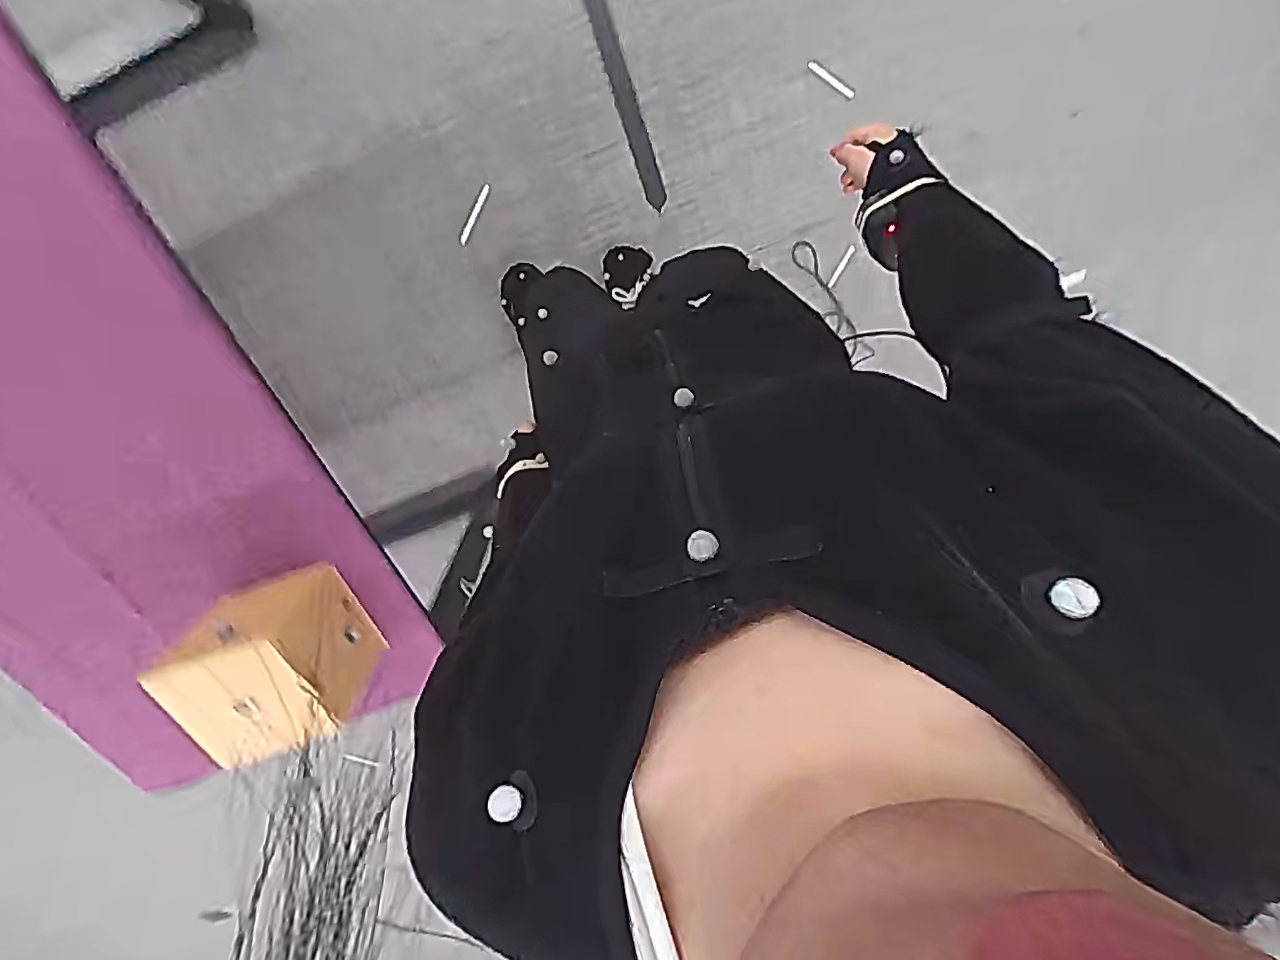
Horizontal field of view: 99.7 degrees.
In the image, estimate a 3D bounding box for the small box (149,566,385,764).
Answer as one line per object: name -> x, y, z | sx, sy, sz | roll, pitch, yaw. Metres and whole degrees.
small box -> -0.497, 0.249, 0.753 | 0.179, 0.176, 0.168 | -20, 114, 4
